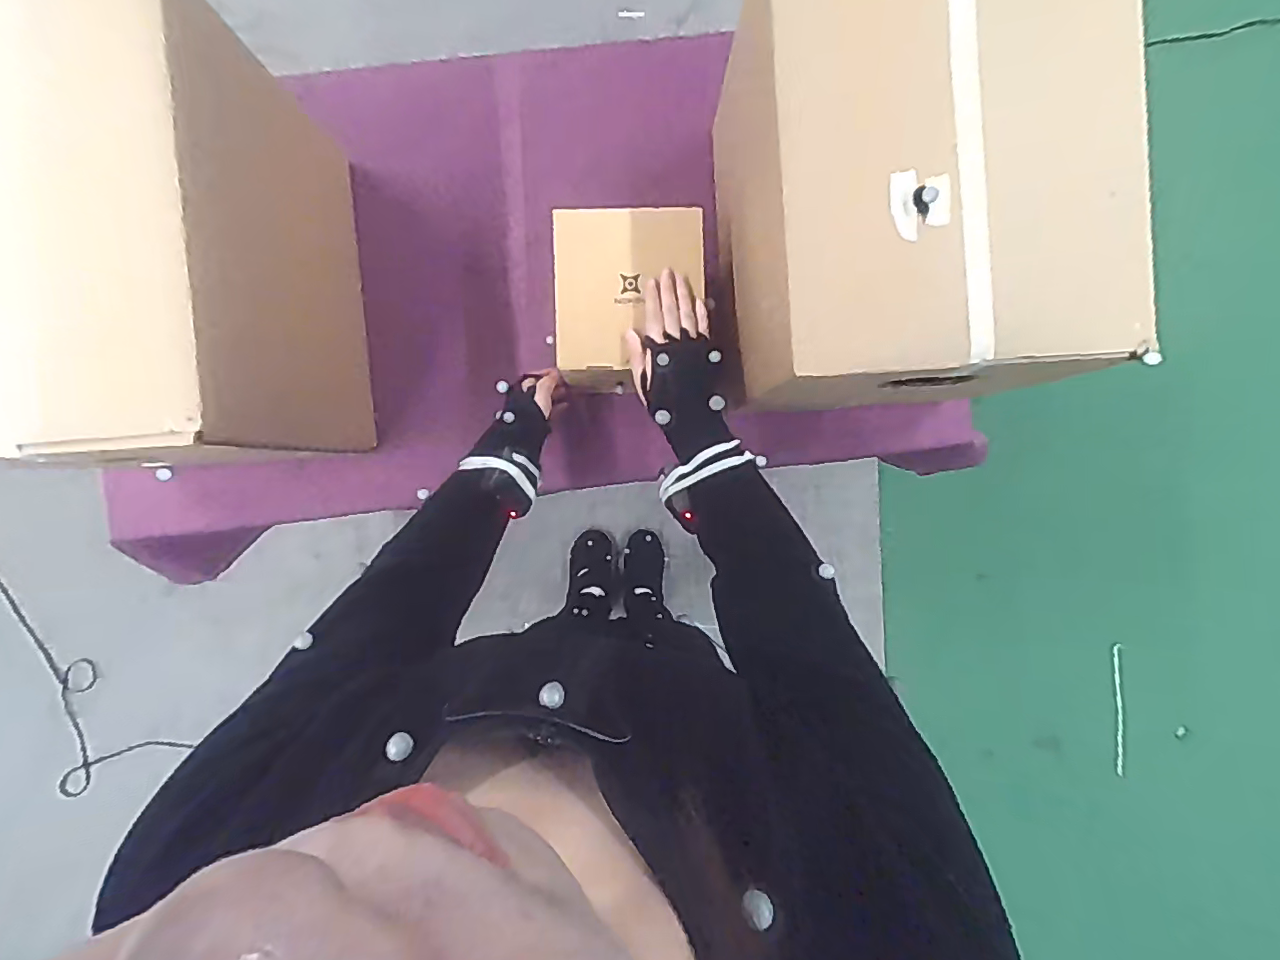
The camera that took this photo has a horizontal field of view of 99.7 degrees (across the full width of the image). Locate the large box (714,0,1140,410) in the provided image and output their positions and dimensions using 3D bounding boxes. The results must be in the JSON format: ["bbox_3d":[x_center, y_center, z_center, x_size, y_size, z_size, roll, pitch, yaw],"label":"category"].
[{"bbox_3d":[0.274,-0.301,0.617,0.320,0.320,0.408,-3,92,-1],"label":"large box"}]
